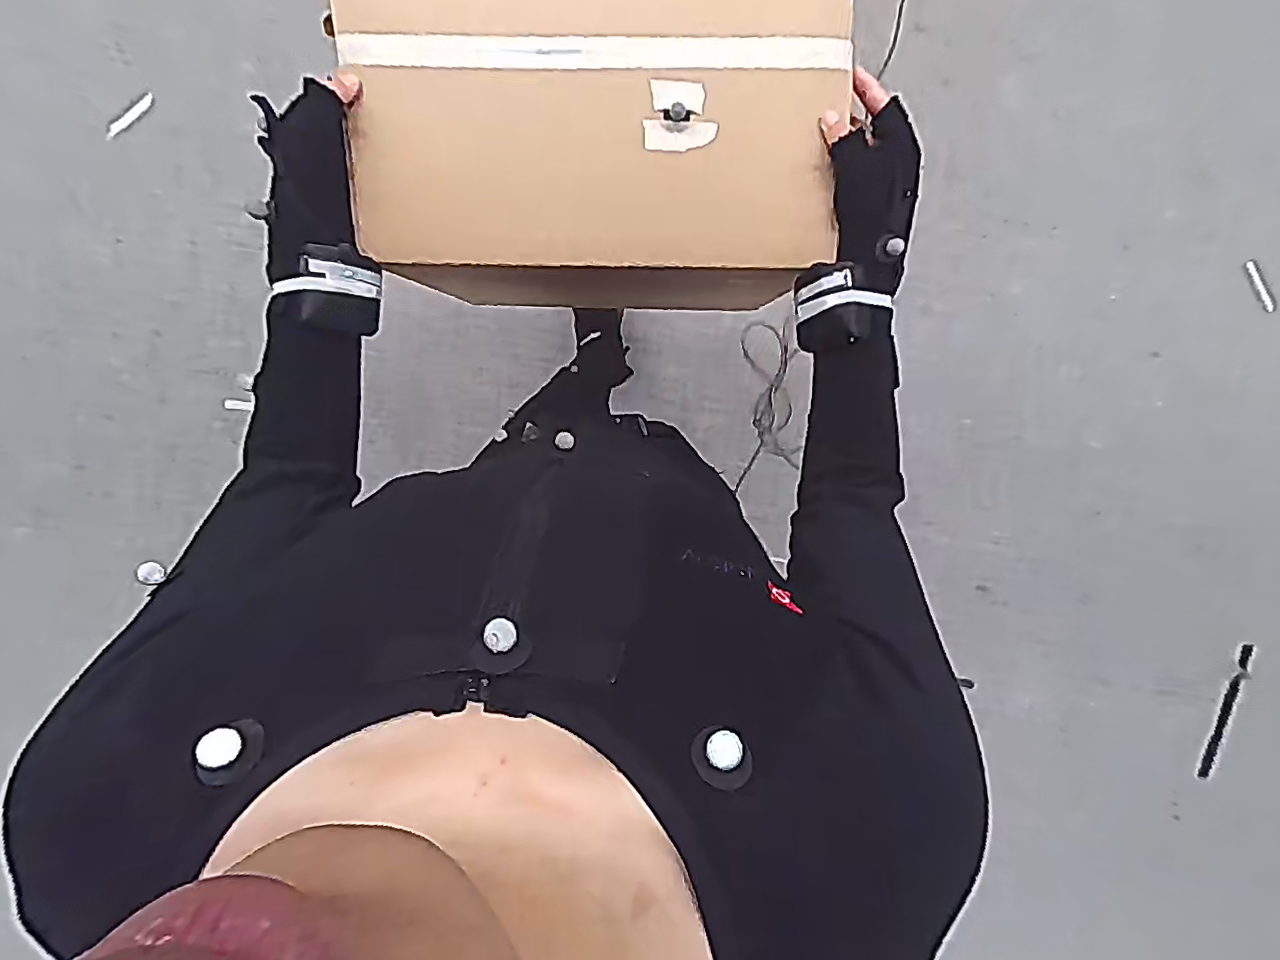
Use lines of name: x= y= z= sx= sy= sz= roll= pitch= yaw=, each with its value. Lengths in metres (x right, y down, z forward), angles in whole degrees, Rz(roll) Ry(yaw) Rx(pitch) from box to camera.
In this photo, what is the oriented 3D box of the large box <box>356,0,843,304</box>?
large box: x=-0.035 y=-0.374 z=0.593 sx=0.408 sy=0.320 sz=0.320 roll=0 pitch=102 yaw=-1
